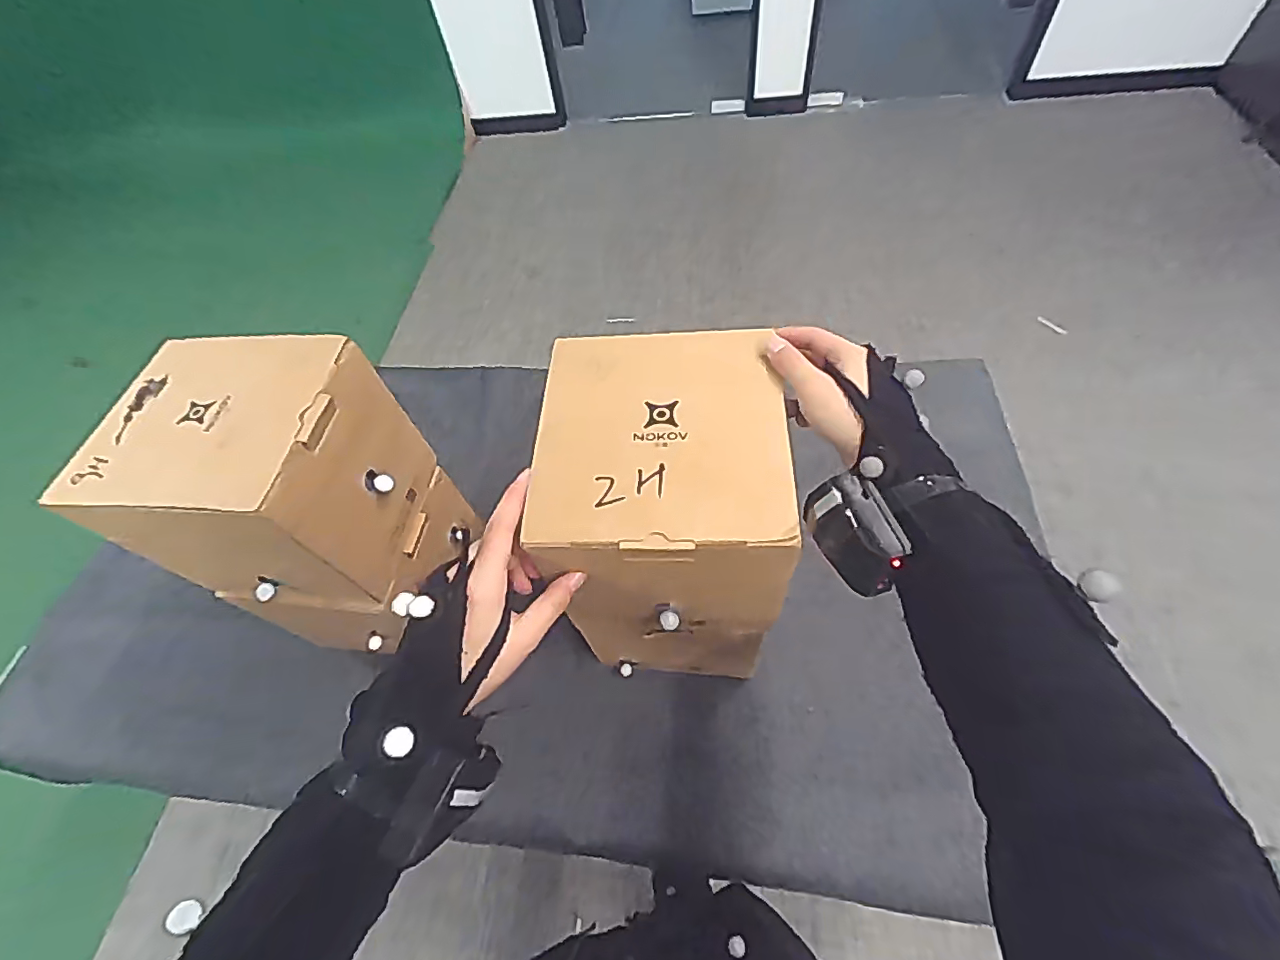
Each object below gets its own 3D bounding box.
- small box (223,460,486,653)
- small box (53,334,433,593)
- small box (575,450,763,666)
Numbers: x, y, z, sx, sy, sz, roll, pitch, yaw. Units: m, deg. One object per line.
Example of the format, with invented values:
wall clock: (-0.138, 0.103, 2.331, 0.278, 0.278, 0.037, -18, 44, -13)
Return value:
small box: (-0.295, 0.088, 0.610, 0.179, 0.176, 0.168, 2, 56, 9)
small box: (-0.312, -0.008, 0.477, 0.179, 0.176, 0.168, 1, 57, 7)
small box: (0.040, 0.087, 0.570, 0.168, 0.176, 0.179, 2, 57, 7)
